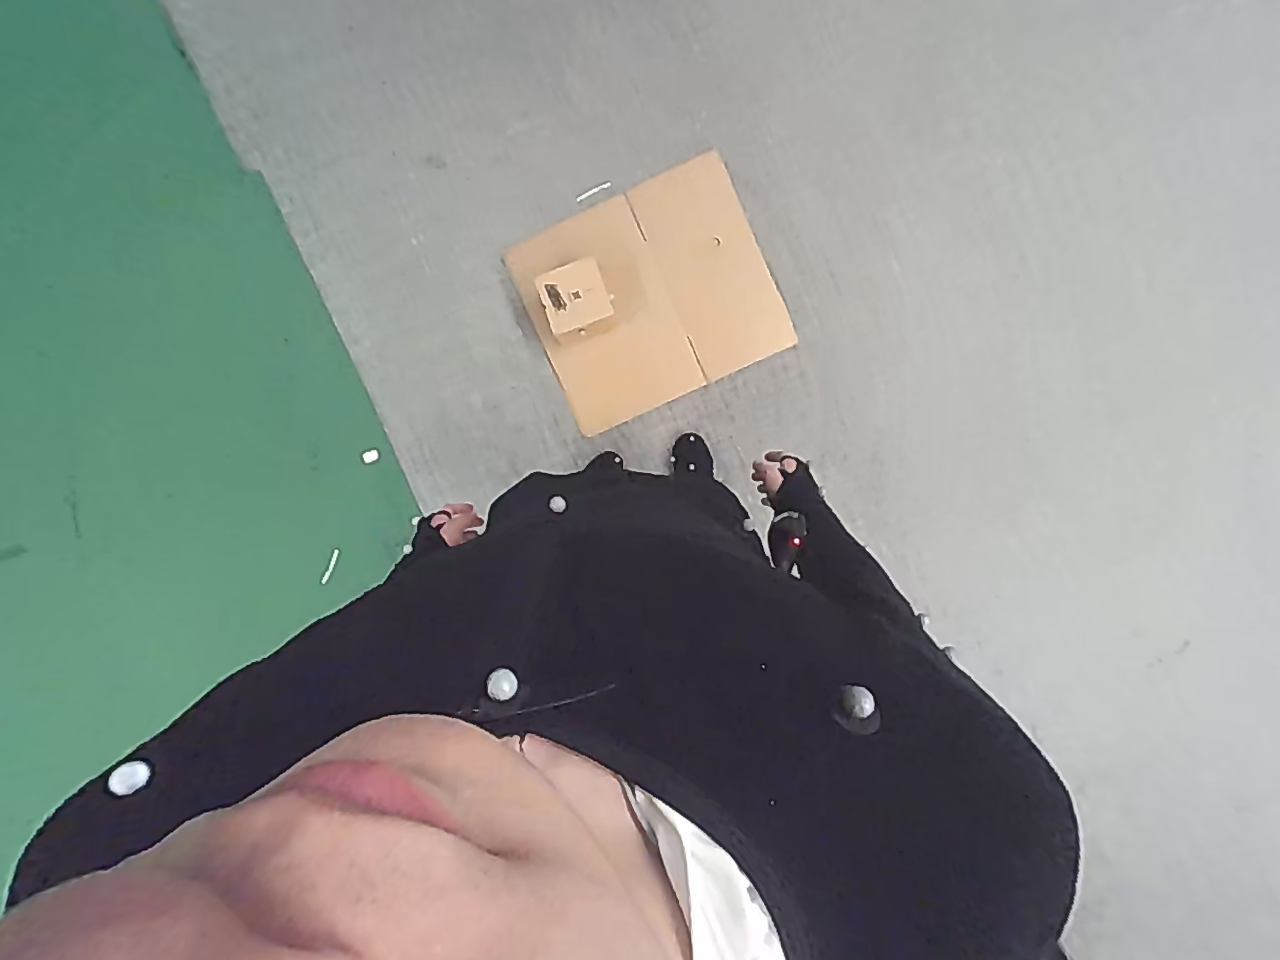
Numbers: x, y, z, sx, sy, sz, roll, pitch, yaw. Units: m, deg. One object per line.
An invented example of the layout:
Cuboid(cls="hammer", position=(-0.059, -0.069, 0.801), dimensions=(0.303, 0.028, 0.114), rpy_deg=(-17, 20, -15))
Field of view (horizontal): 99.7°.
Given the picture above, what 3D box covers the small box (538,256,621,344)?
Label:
Cuboid(cls="small box", position=(-0.163, -0.495, 1.517), dimensions=(0.179, 0.176, 0.168), rpy_deg=(-19, 94, 3))
